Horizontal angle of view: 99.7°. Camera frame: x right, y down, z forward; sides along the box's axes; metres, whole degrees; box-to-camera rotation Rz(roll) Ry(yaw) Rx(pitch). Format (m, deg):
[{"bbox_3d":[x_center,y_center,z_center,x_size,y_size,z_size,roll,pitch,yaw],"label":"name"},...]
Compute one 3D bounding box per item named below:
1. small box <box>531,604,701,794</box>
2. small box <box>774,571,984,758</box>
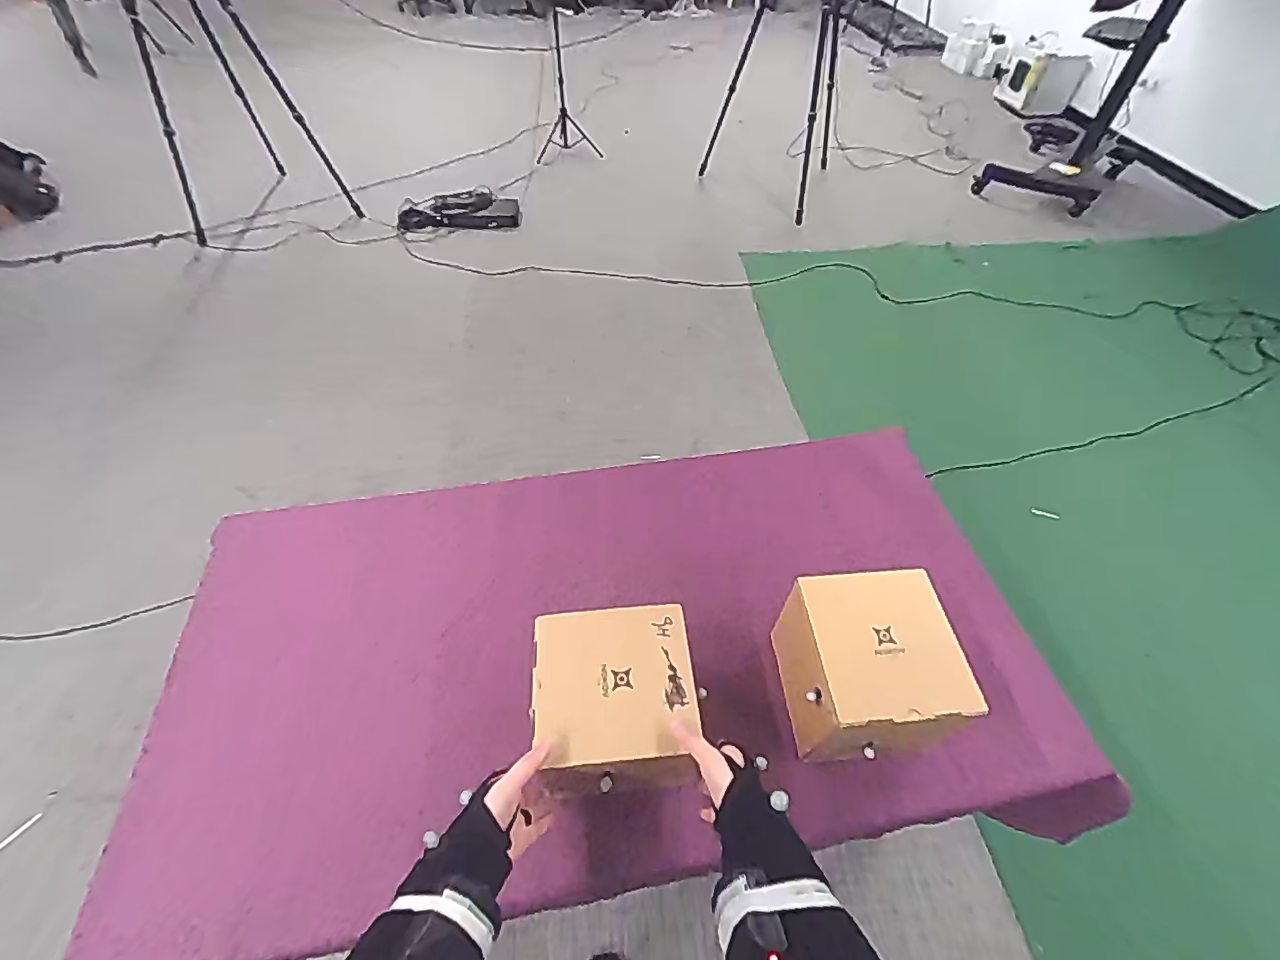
[{"bbox_3d":[-0.028,0.268,0.654,0.179,0.176,0.168,-4,51,-3],"label":"small box"},{"bbox_3d":[0.280,0.235,0.687,0.168,0.176,0.179,-3,51,-3],"label":"small box"}]
